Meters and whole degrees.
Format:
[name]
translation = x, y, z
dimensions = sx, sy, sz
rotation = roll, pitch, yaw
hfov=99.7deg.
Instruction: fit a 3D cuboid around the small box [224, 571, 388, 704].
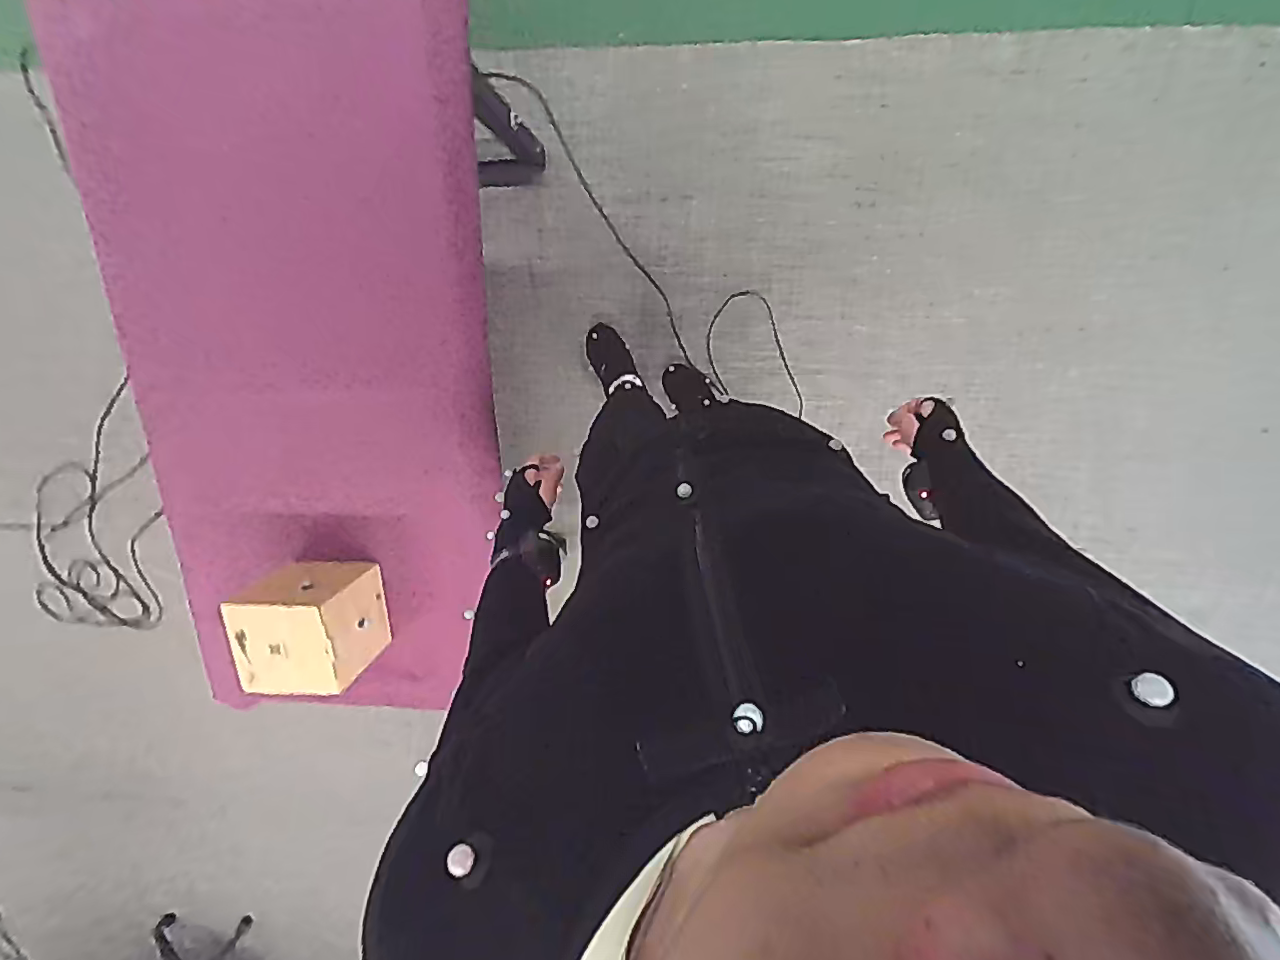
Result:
[small box]
translation = -0.567, 0.267, 0.948
dimensions = 0.179, 0.176, 0.168
rotation = -1, 104, 5
